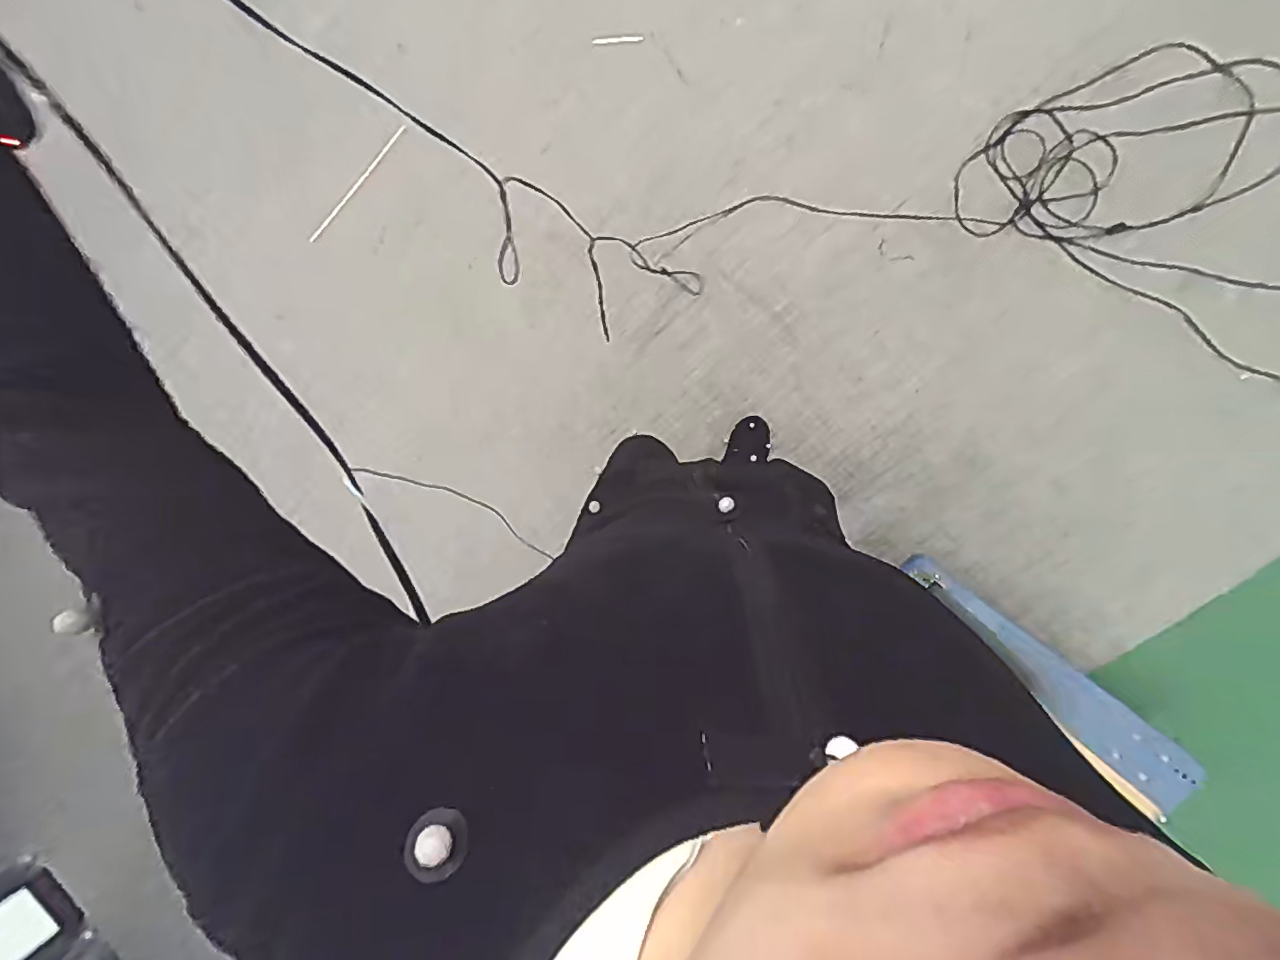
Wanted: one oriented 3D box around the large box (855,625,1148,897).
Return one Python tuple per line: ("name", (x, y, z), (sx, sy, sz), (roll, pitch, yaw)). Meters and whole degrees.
("large box", (0.788, 0.618, 1.257), (0.408, 0.320, 0.320), (40, 102, 2))
